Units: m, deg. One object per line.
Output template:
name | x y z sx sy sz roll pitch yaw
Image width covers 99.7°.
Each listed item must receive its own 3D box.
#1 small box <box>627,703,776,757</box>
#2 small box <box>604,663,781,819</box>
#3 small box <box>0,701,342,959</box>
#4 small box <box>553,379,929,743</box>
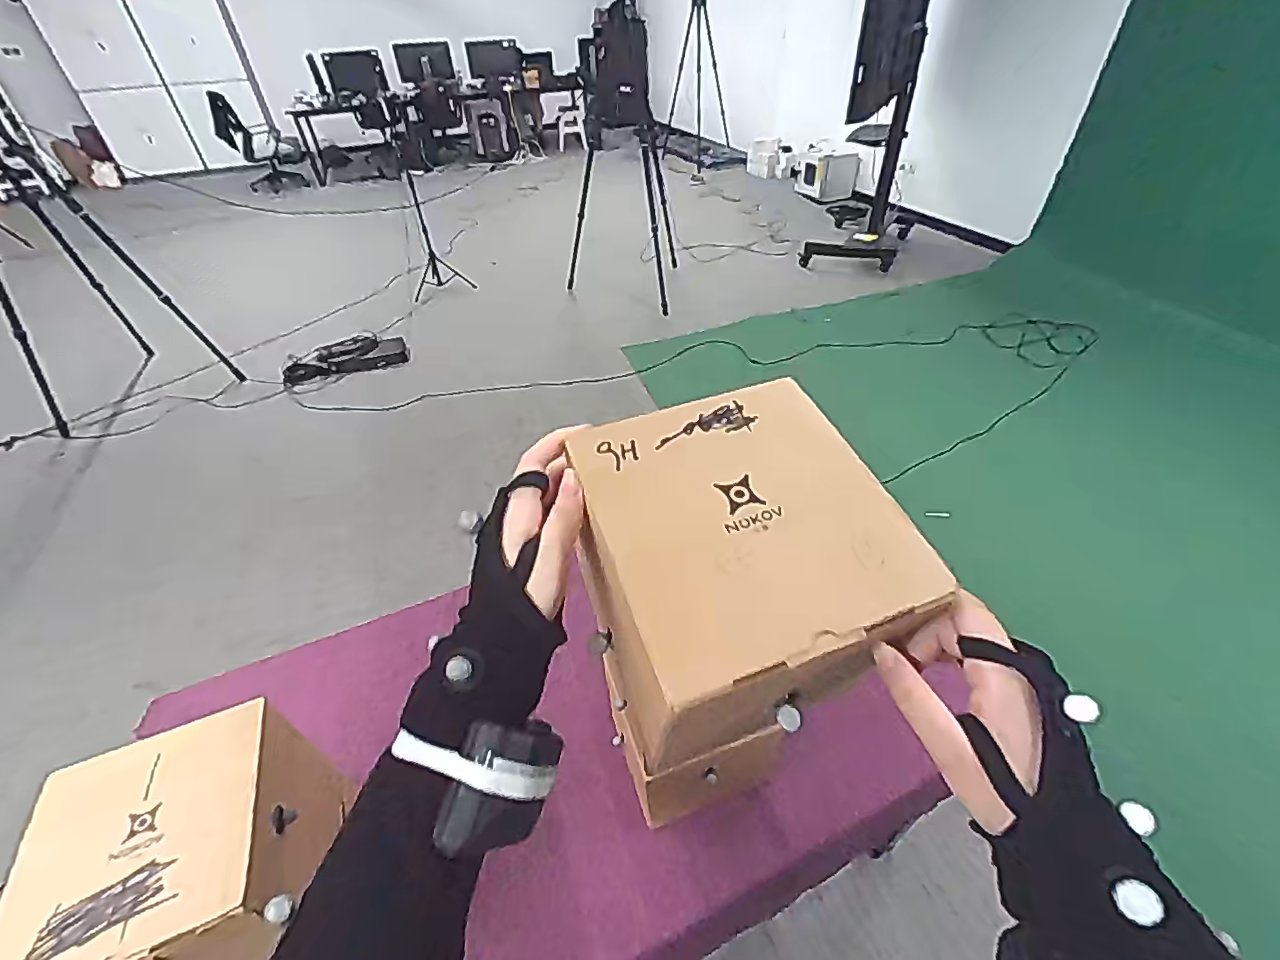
small box | 0.050 0.186 0.613 0.168 0.176 0.179 -15 42 -12
small box | 0.064 0.313 0.716 0.179 0.176 0.168 -15 44 -12
small box | -0.384 0.341 0.481 0.168 0.176 0.179 -18 42 -16
small box | 0.048 0.064 0.377 0.168 0.176 0.179 -16 56 -13
